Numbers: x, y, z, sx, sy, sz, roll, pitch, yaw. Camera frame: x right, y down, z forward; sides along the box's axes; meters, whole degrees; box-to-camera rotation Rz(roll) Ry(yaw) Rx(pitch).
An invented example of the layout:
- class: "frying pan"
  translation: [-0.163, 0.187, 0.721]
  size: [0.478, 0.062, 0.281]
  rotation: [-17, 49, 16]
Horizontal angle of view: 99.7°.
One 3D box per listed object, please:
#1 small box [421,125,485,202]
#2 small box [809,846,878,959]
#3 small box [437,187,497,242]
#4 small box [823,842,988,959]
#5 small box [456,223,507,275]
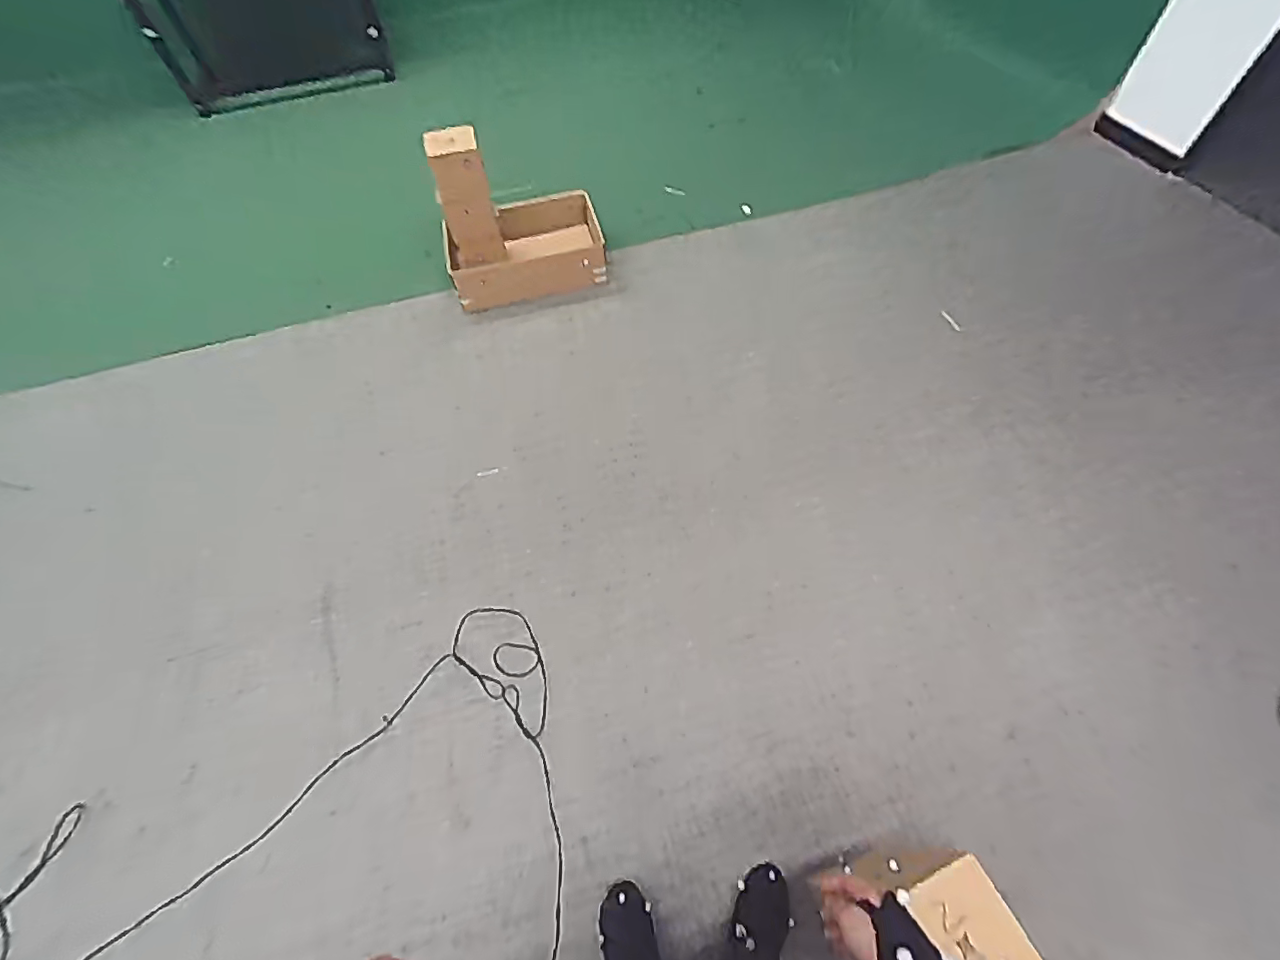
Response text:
- class: "small box"
  translation: [-0.662, -1.130, 1.933]
  size: [0.179, 0.176, 0.168]
  rotation: [-14, 58, -6]
- class: "small box"
  translation: [0.453, 0.849, 1.068]
  size: [0.179, 0.176, 0.168]
  rotation: [-18, 59, -7]
- class: "small box"
  translation: [-0.665, -1.042, 2.074]
  size: [0.179, 0.176, 0.168]
  rotation: [-14, 59, -6]
- class: "small box"
  translation: [0.439, 0.754, 0.936]
  size: [0.179, 0.176, 0.168]
  rotation: [-19, 60, -10]
- class: "small box"
  translation: [-0.655, -0.965, 2.219]
  size: [0.168, 0.176, 0.179]
  rotation: [-15, 59, -6]
